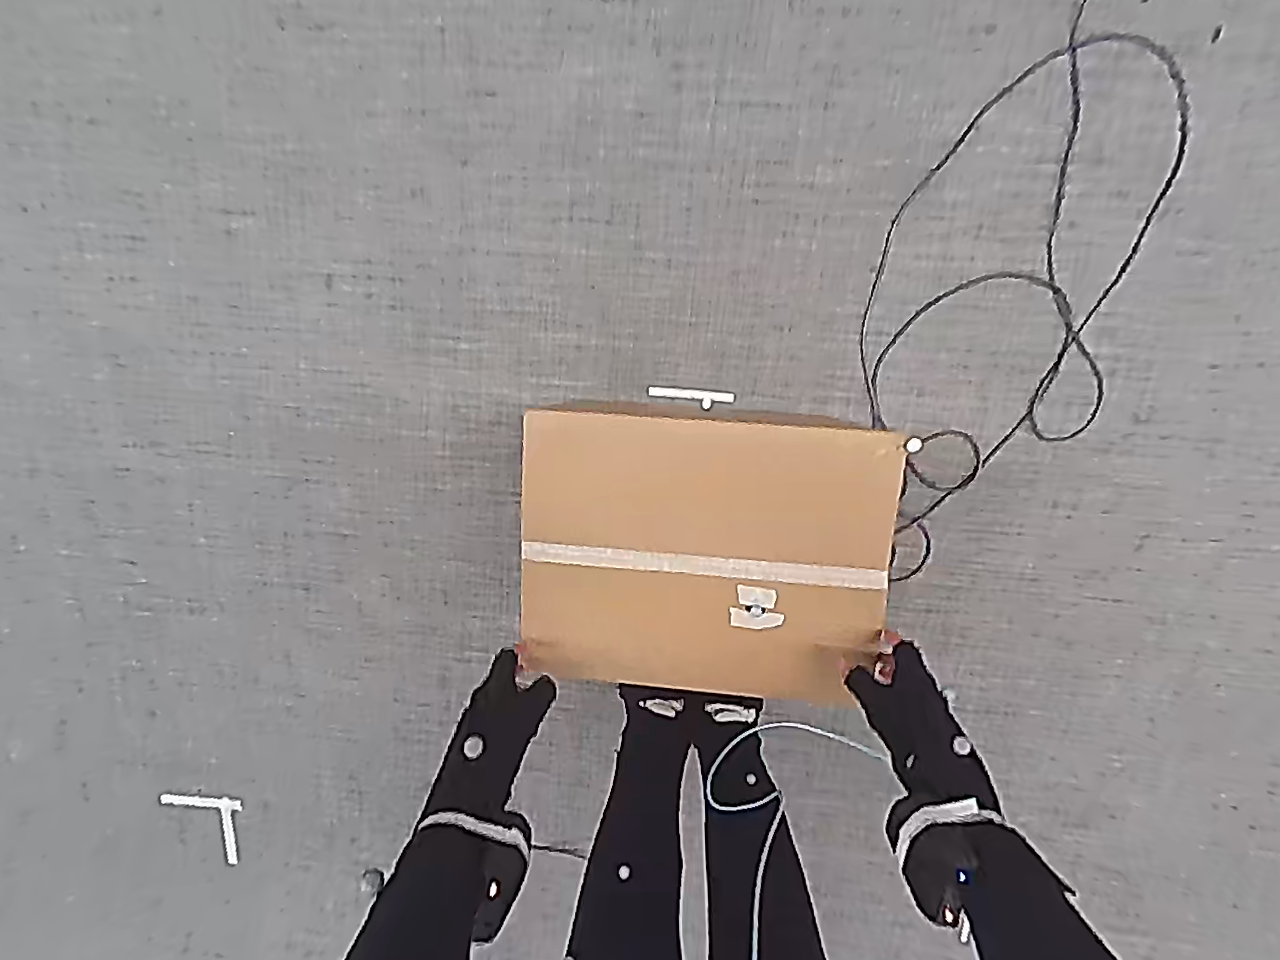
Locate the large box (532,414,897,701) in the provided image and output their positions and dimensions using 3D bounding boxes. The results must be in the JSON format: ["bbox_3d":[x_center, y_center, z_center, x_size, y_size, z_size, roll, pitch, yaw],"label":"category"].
[{"bbox_3d":[0.083,0.071,0.761,0.408,0.320,0.320,4,101,5],"label":"large box"}]
